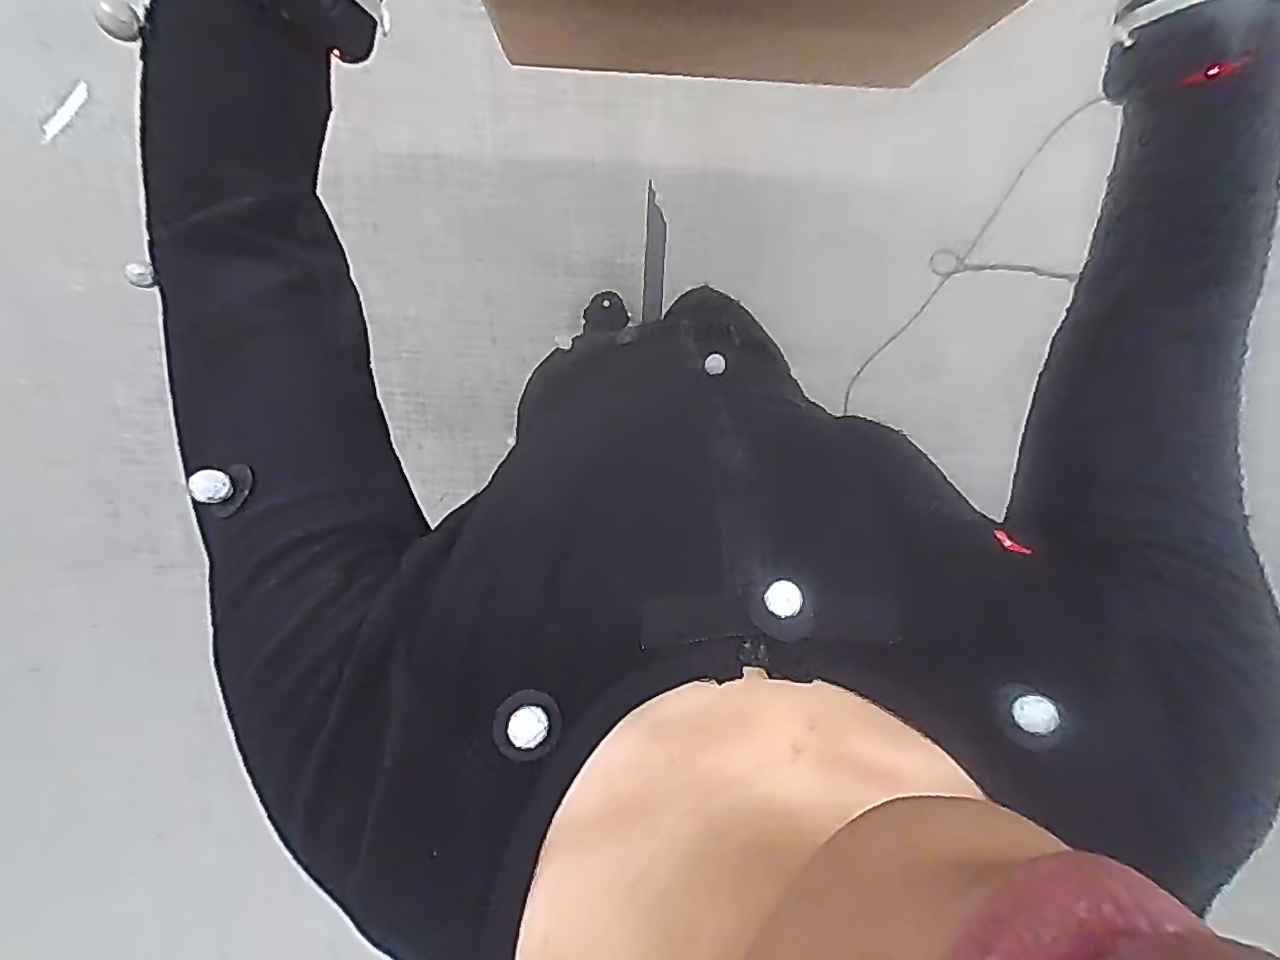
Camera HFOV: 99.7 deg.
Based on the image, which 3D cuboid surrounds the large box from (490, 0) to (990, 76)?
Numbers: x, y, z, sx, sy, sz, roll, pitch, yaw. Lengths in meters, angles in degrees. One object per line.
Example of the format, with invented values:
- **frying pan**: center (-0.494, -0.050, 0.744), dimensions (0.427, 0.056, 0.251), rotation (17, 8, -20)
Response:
- **large box**: center (0.080, -0.510, 0.356), dimensions (0.408, 0.320, 0.320), rotation (0, 109, -4)
